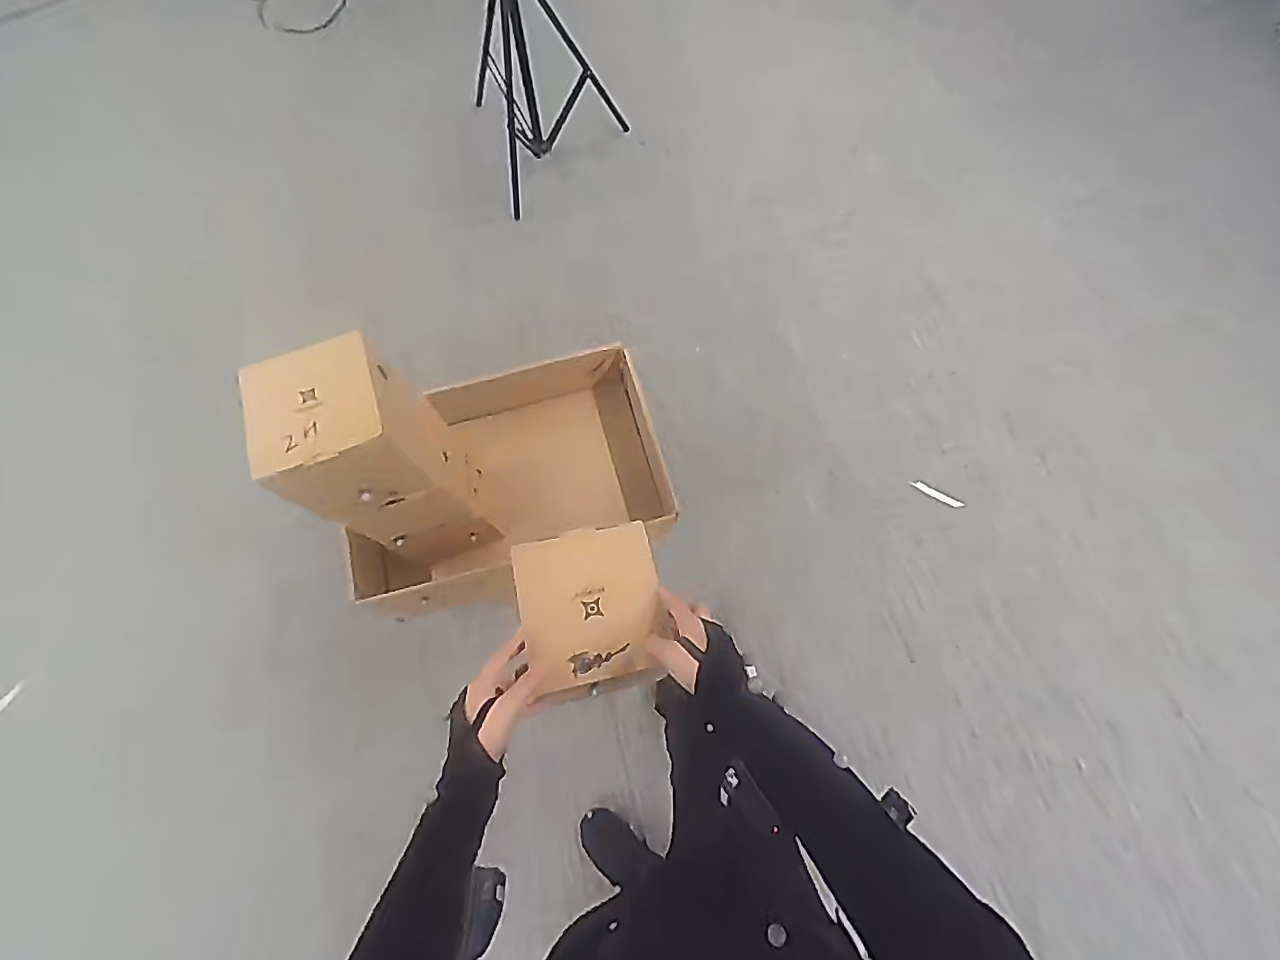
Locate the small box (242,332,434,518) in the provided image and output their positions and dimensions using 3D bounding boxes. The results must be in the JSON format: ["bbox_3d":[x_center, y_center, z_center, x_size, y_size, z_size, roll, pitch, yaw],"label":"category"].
[{"bbox_3d":[-0.414,-0.069,0.761,0.168,0.176,0.179,-20,70,-6],"label":"small box"}]

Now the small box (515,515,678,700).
[{"bbox_3d":[-0.060,0.169,0.697,0.168,0.176,0.179,-10,64,-9],"label":"small box"}]

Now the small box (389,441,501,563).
[{"bbox_3d":[-0.387,0.050,1.067,0.179,0.176,0.168,-20,71,-5],"label":"small box"}]

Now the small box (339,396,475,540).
[{"bbox_3d":[-0.396,-0.009,0.915,0.168,0.176,0.179,-18,69,-5],"label":"small box"}]
